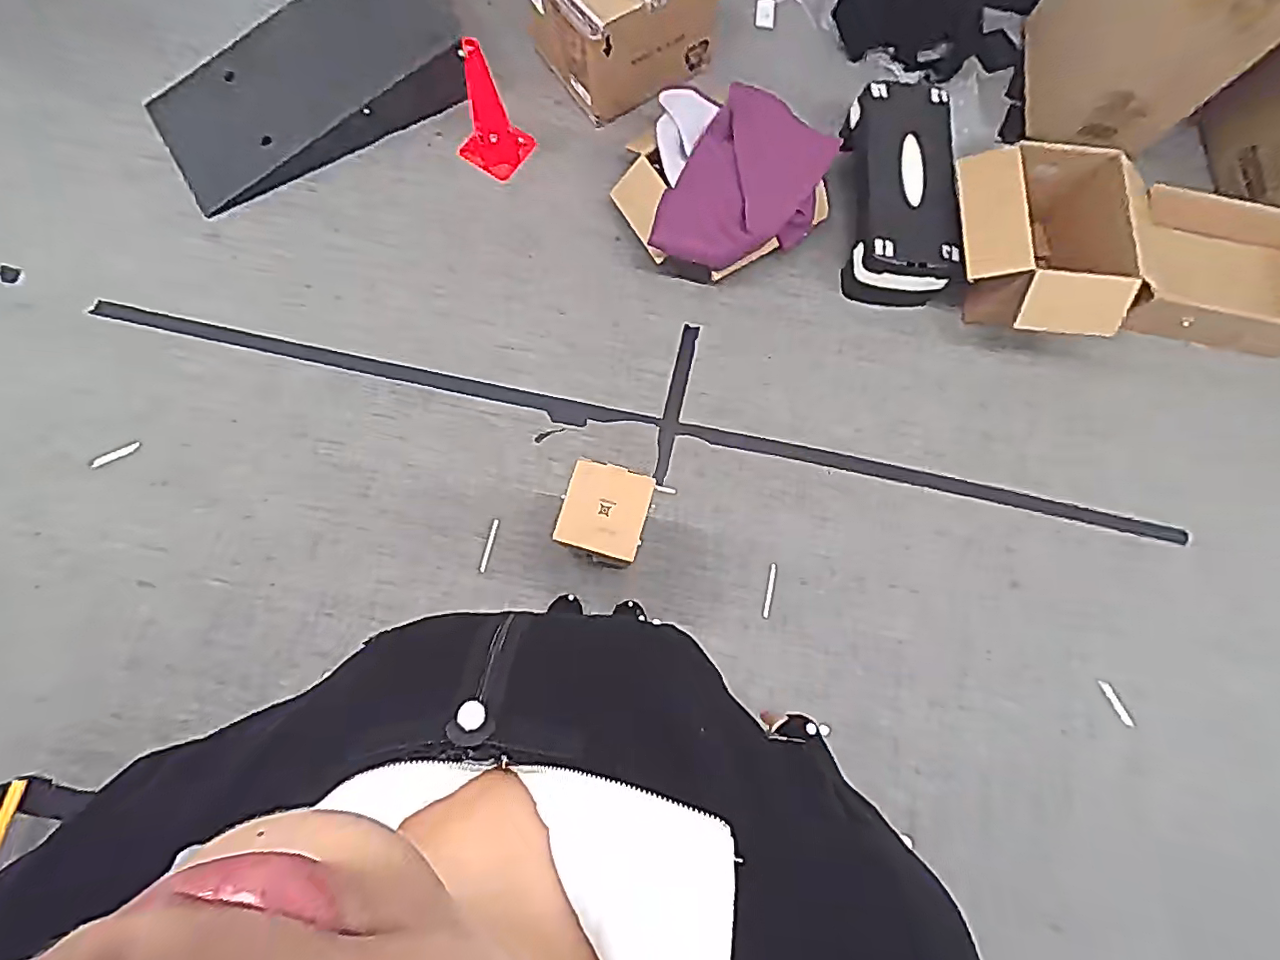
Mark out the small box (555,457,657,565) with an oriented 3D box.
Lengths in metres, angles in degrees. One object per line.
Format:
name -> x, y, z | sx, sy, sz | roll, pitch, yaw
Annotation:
small box -> -0.070, 0.073, 1.141 | 0.168, 0.176, 0.179 | 16, 78, 1
